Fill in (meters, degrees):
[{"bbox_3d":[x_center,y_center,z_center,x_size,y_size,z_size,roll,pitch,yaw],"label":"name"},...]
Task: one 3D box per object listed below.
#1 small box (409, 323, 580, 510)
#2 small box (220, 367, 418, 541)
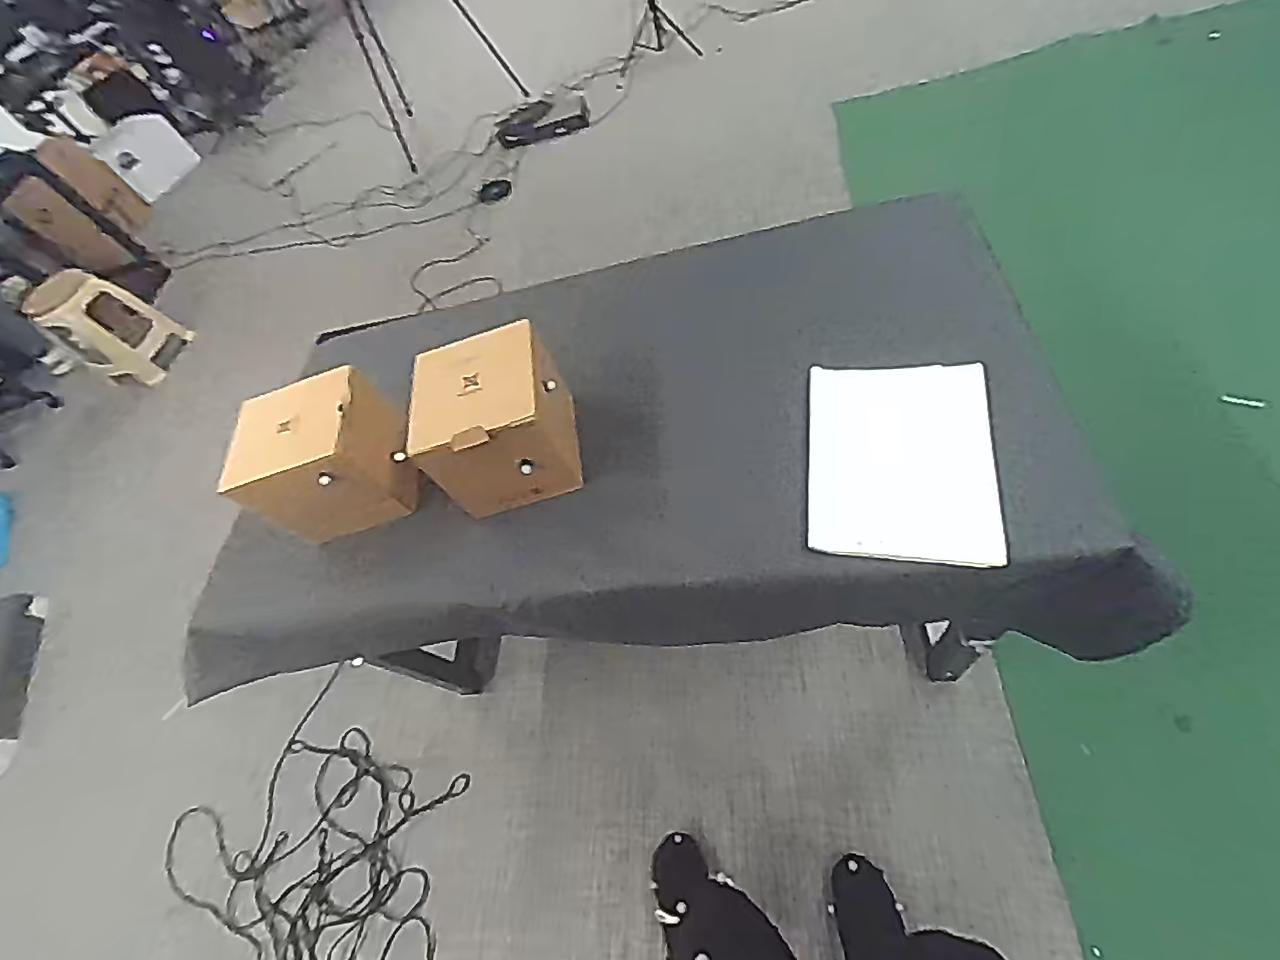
[{"bbox_3d":[-0.189,-0.075,0.742,0.168,0.176,0.179,-15,54,6],"label":"small box"},{"bbox_3d":[-0.452,-0.030,0.796,0.179,0.176,0.168,-17,55,5],"label":"small box"}]
